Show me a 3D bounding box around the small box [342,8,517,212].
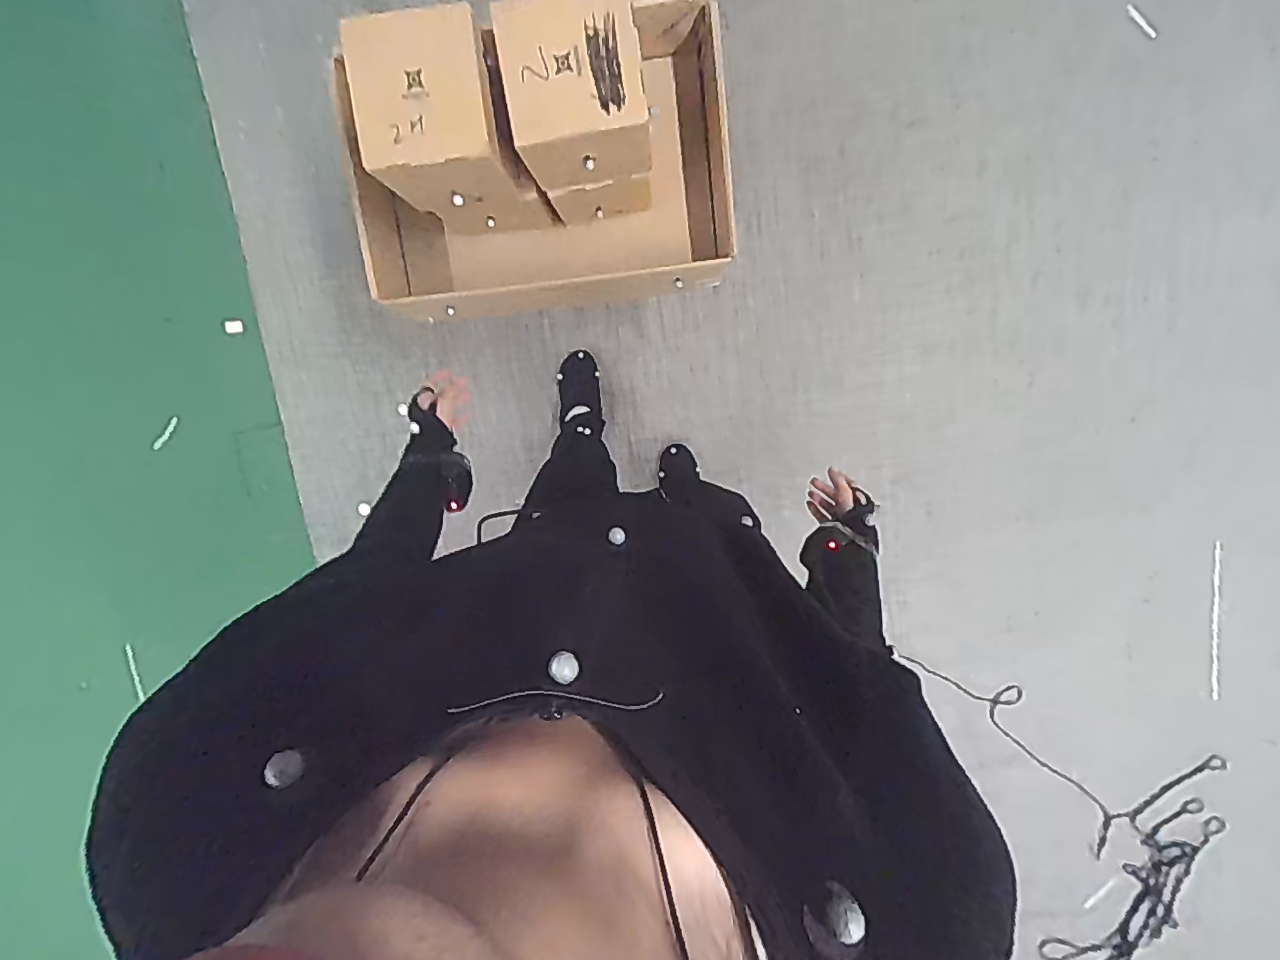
[{"bbox_3d":[-0.278,-0.498,0.753,0.168,0.176,0.179,-5,99,2],"label":"small box"}]
